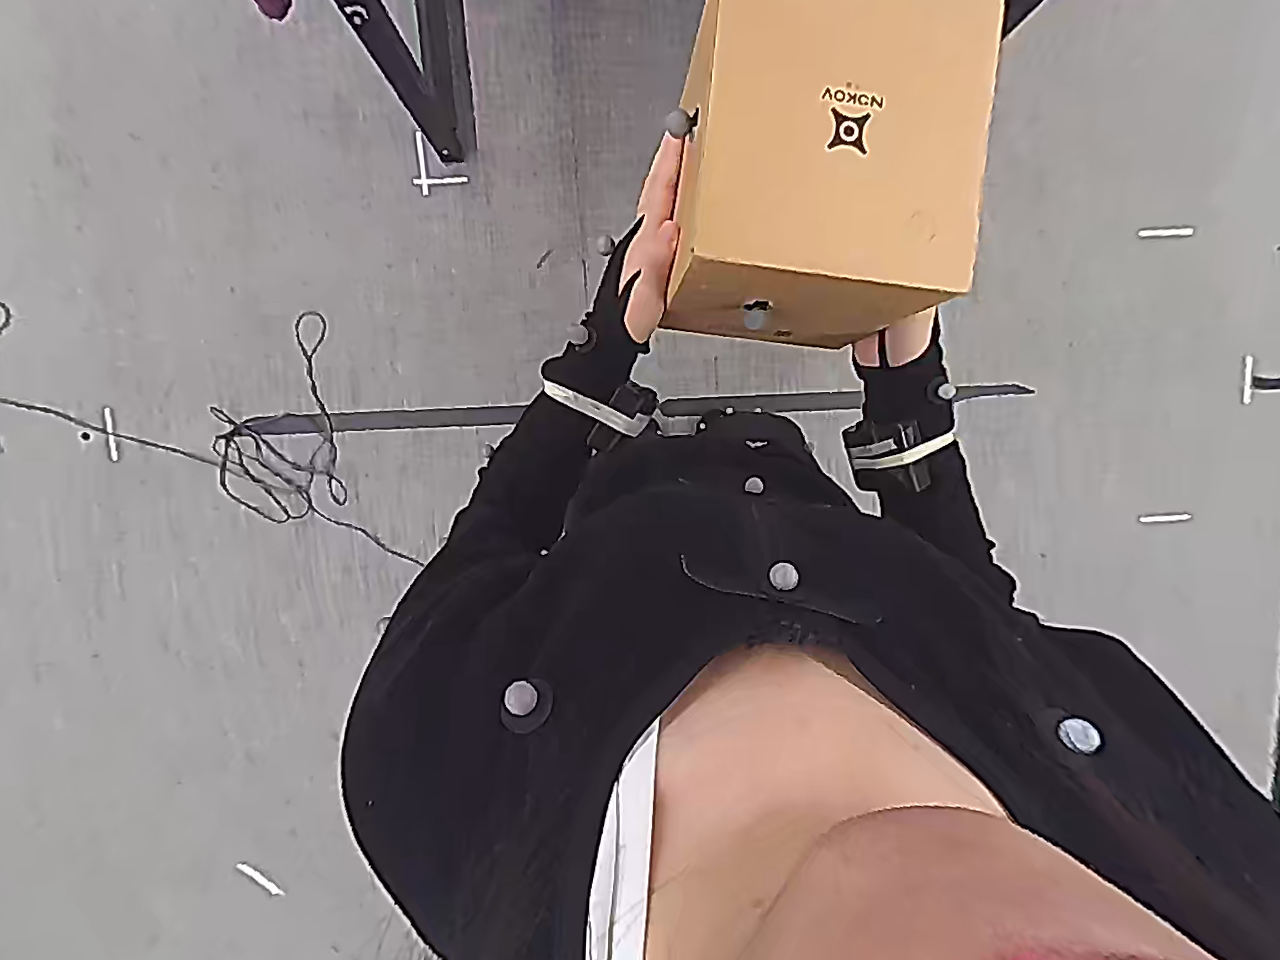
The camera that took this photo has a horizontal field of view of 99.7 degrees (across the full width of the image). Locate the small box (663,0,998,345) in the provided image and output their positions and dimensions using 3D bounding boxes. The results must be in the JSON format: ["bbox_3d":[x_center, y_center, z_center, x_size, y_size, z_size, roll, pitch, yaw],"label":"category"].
[{"bbox_3d":[0.112,-0.205,0.390,0.168,0.176,0.179,6,91,-6],"label":"small box"}]
